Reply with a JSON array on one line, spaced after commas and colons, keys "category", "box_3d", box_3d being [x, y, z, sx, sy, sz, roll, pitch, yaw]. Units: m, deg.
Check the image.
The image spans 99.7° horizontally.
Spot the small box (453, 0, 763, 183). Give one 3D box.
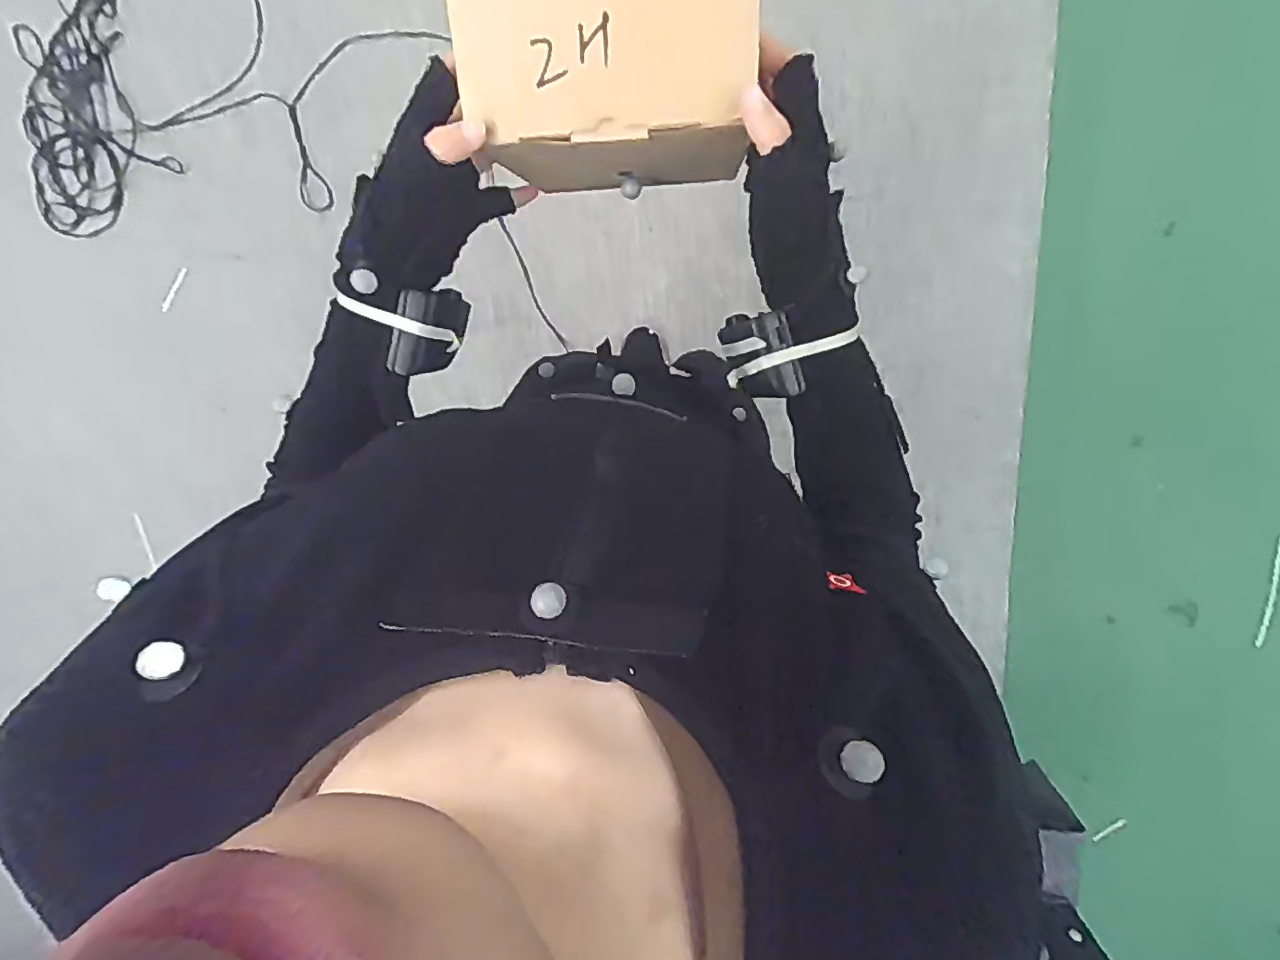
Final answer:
[{"category": "small box", "box_3d": [-0.012, -0.311, 0.347, 0.168, 0.176, 0.179, -1, 108, 7]}]
